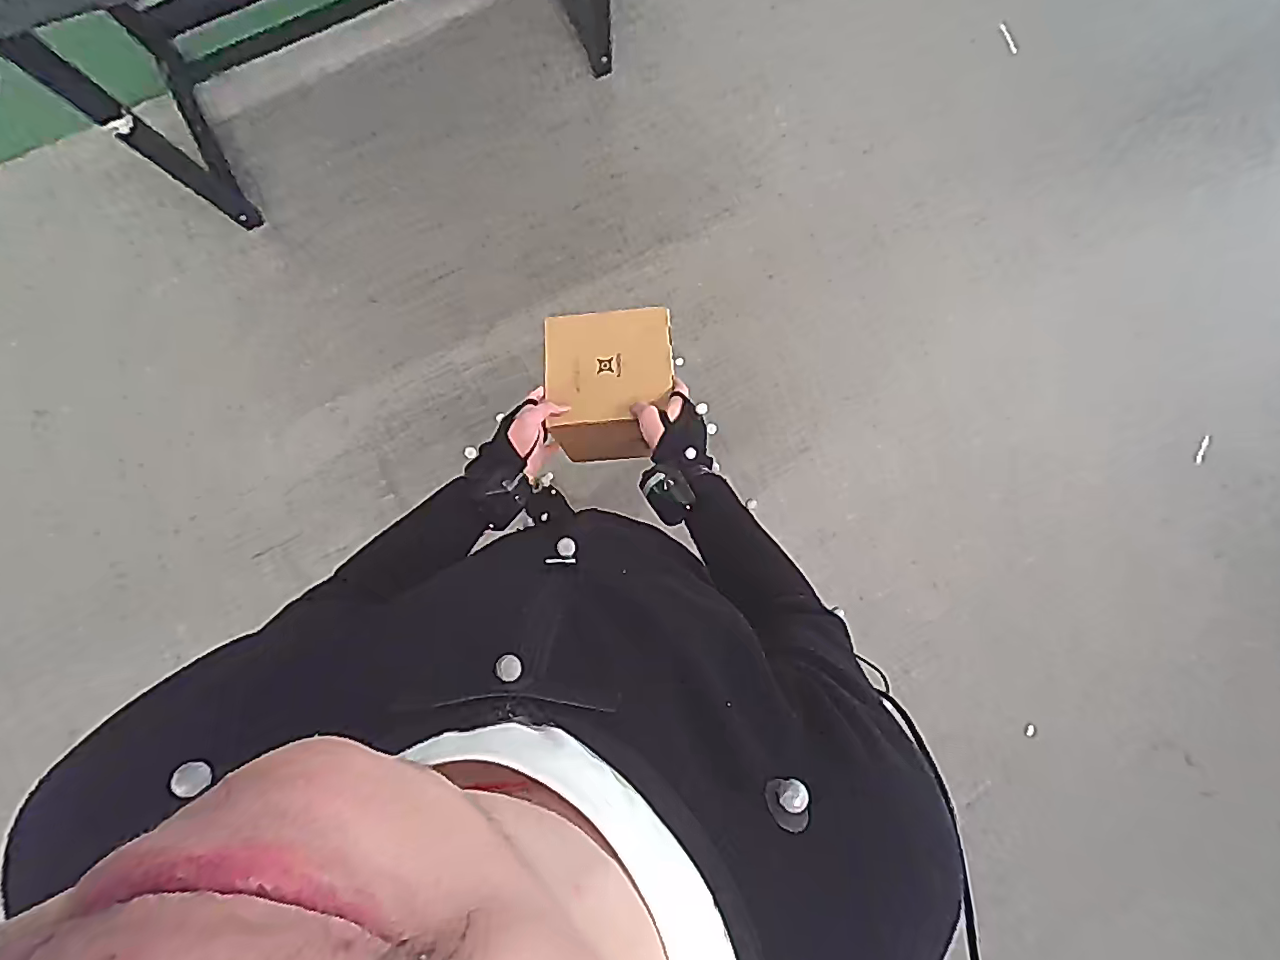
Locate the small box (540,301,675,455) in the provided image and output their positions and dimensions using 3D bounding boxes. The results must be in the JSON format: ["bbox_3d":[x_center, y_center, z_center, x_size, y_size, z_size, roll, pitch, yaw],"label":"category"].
[{"bbox_3d":[-0.038,-0.140,0.793,0.179,0.176,0.168,-3,74,5],"label":"small box"}]
